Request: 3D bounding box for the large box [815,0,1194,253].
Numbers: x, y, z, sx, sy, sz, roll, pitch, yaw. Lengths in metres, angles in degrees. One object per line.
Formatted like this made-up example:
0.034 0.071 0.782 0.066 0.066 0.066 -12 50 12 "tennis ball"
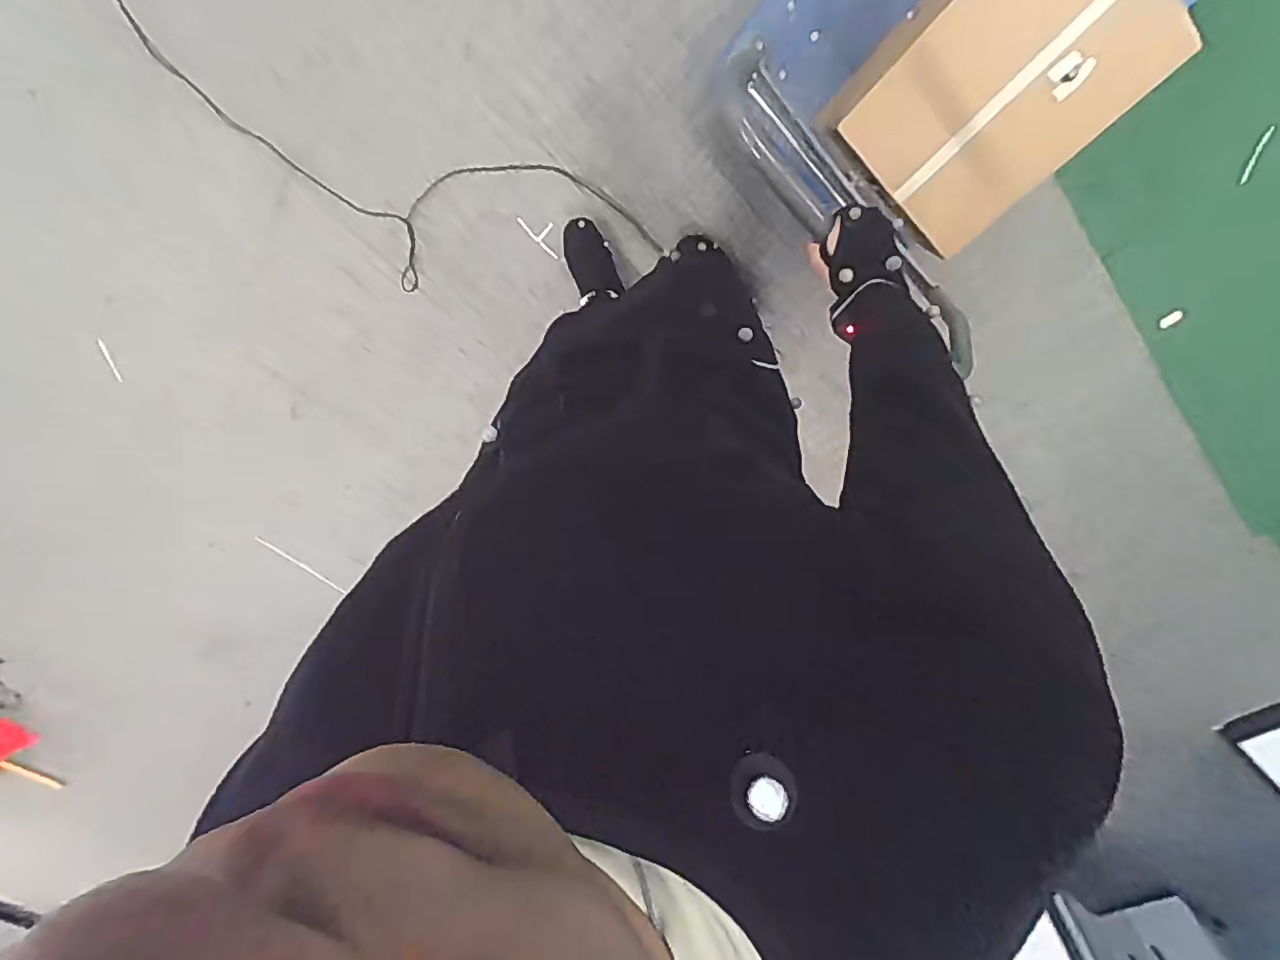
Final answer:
0.586 -0.694 0.962 0.320 0.320 0.408 38 120 -18 "large box"
